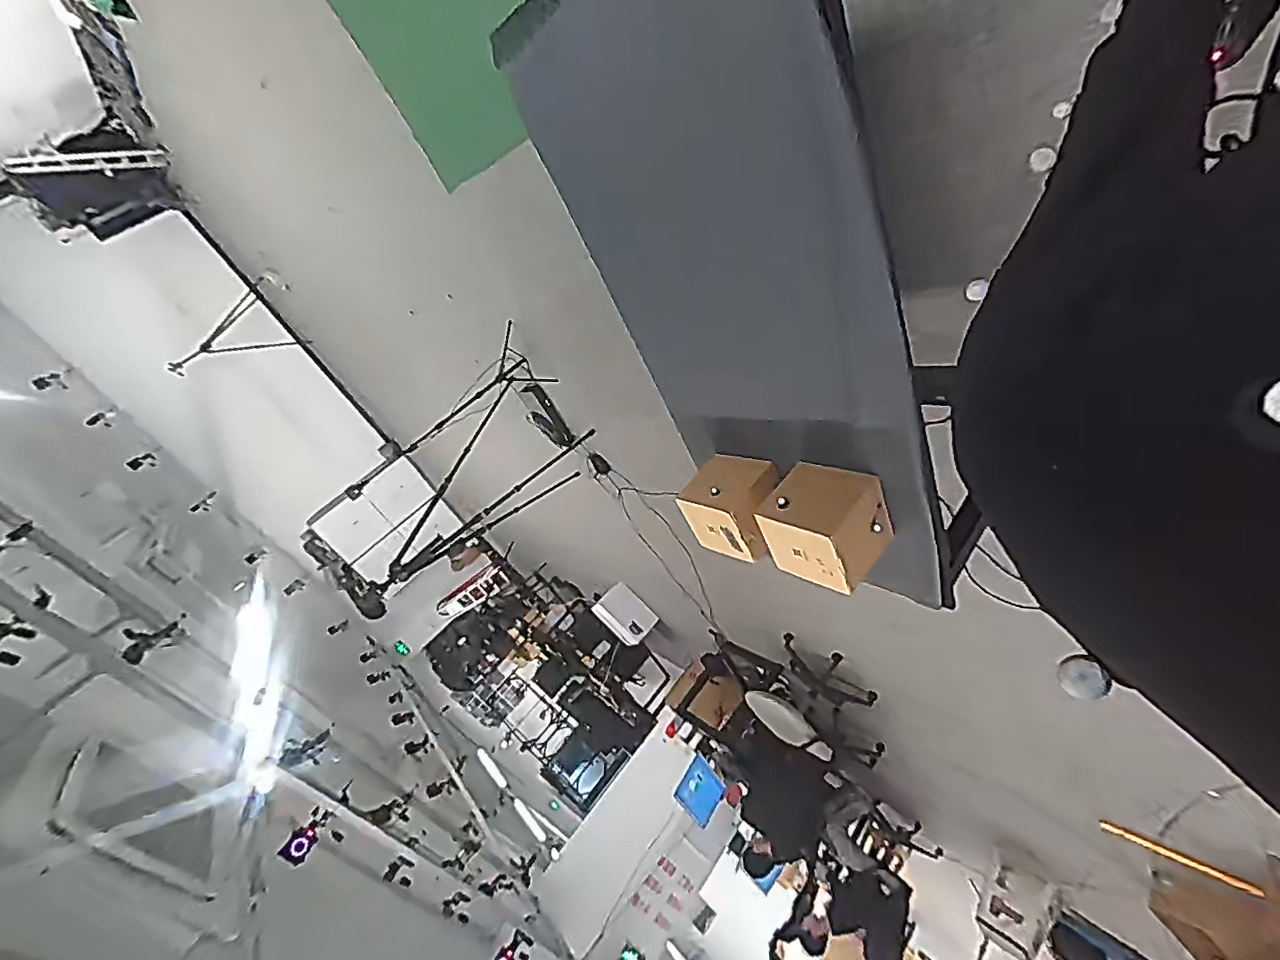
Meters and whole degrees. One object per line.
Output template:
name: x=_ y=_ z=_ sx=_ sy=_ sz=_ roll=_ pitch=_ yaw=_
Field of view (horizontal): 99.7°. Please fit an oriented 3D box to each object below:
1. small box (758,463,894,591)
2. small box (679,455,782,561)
small box: x=0.372 y=0.084 z=1.076 sx=0.179 sy=0.176 sz=0.168 roll=16 pitch=144 yaw=50
small box: x=0.229 y=0.057 z=1.263 sx=0.179 sy=0.176 sz=0.168 roll=13 pitch=142 yaw=51
